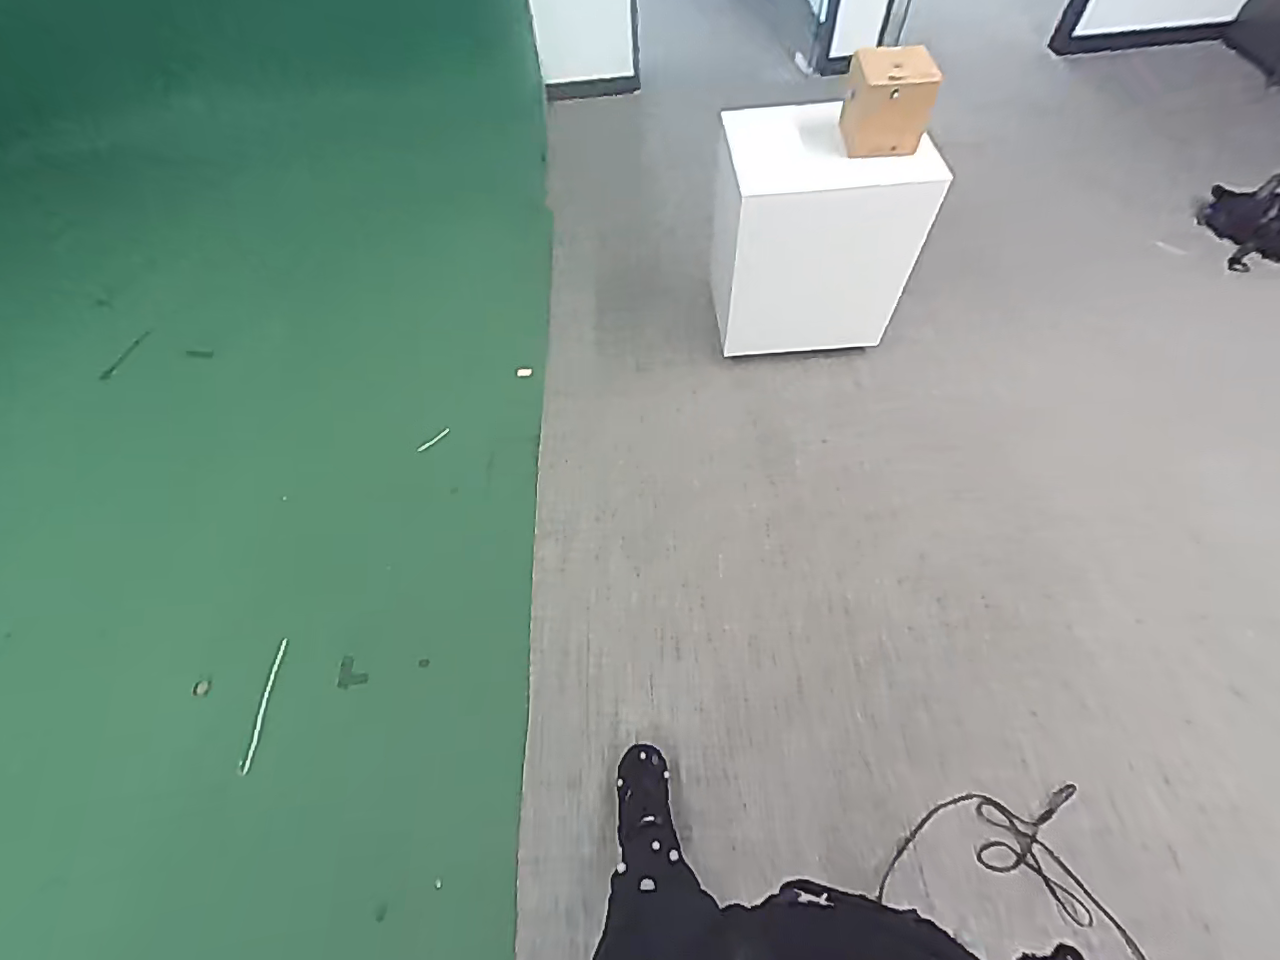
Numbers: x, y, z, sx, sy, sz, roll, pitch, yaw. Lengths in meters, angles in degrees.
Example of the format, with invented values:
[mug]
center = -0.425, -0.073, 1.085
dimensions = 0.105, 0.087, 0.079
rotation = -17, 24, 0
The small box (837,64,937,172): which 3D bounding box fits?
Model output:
[small box]
center = 0.602, -0.899, 1.347
dimensions = 0.168, 0.176, 0.179
rotation = -2, 58, 4
